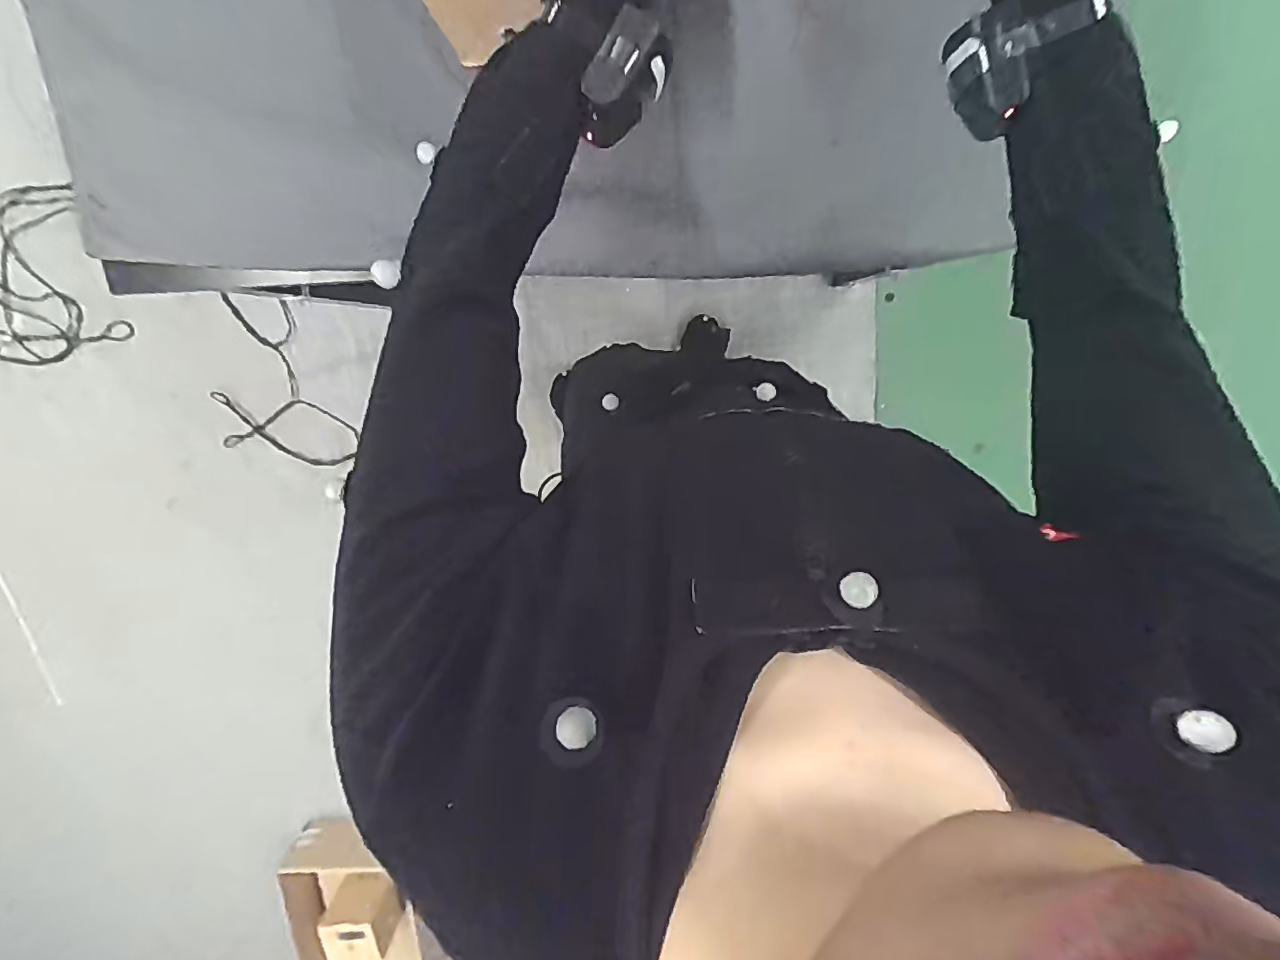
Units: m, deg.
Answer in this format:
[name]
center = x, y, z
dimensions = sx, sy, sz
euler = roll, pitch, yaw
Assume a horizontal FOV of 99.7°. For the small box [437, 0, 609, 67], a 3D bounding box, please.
[small box]
center = -0.119, -0.537, 0.515
dimensions = 0.168, 0.176, 0.179
euler = -2, 105, 1
